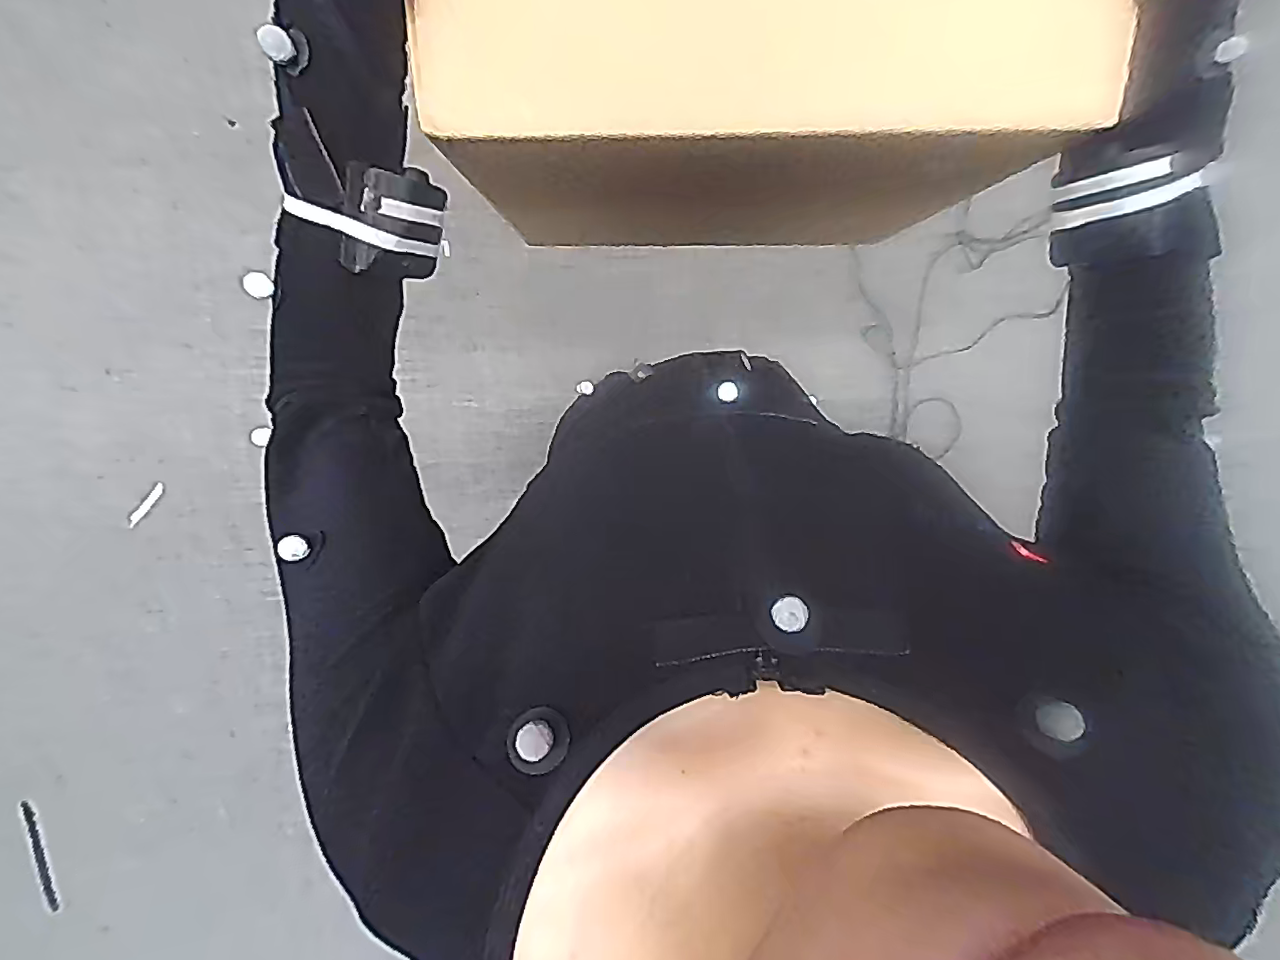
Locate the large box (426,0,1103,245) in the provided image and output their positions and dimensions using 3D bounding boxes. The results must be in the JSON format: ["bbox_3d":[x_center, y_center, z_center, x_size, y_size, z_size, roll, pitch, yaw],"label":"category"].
[{"bbox_3d":[0.067,-0.394,0.443,0.408,0.320,0.320,-1,102,-1],"label":"large box"}]
